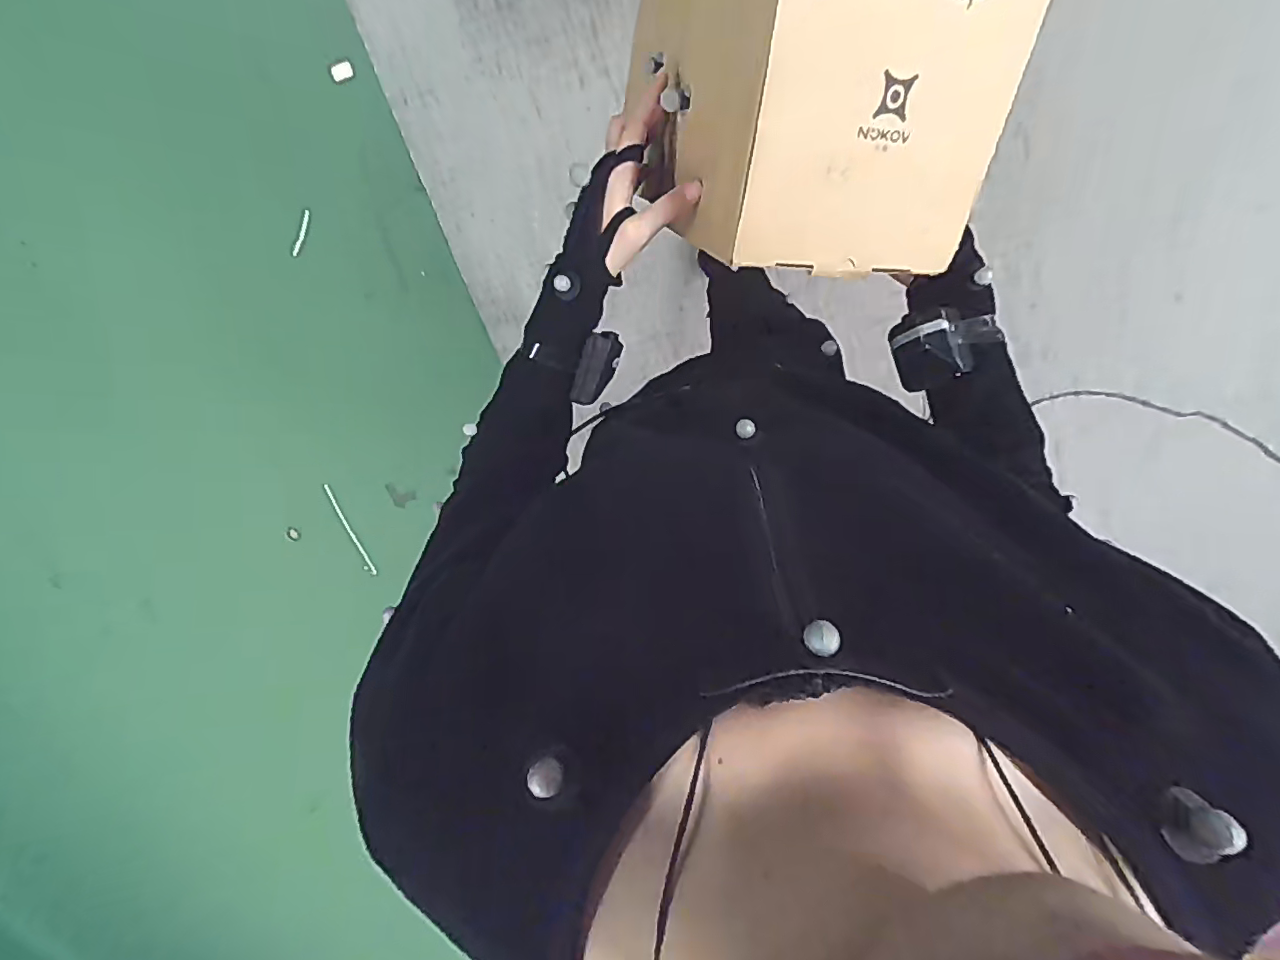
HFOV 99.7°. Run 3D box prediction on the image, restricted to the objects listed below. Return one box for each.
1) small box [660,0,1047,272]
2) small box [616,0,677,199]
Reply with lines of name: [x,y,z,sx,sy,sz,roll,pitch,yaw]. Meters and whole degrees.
small box: [0.118,-0.259,0.374,0.168,0.176,0.179,-4,126,-15]
small box: [0.081,-0.354,0.505,0.168,0.176,0.179,3,123,-17]
